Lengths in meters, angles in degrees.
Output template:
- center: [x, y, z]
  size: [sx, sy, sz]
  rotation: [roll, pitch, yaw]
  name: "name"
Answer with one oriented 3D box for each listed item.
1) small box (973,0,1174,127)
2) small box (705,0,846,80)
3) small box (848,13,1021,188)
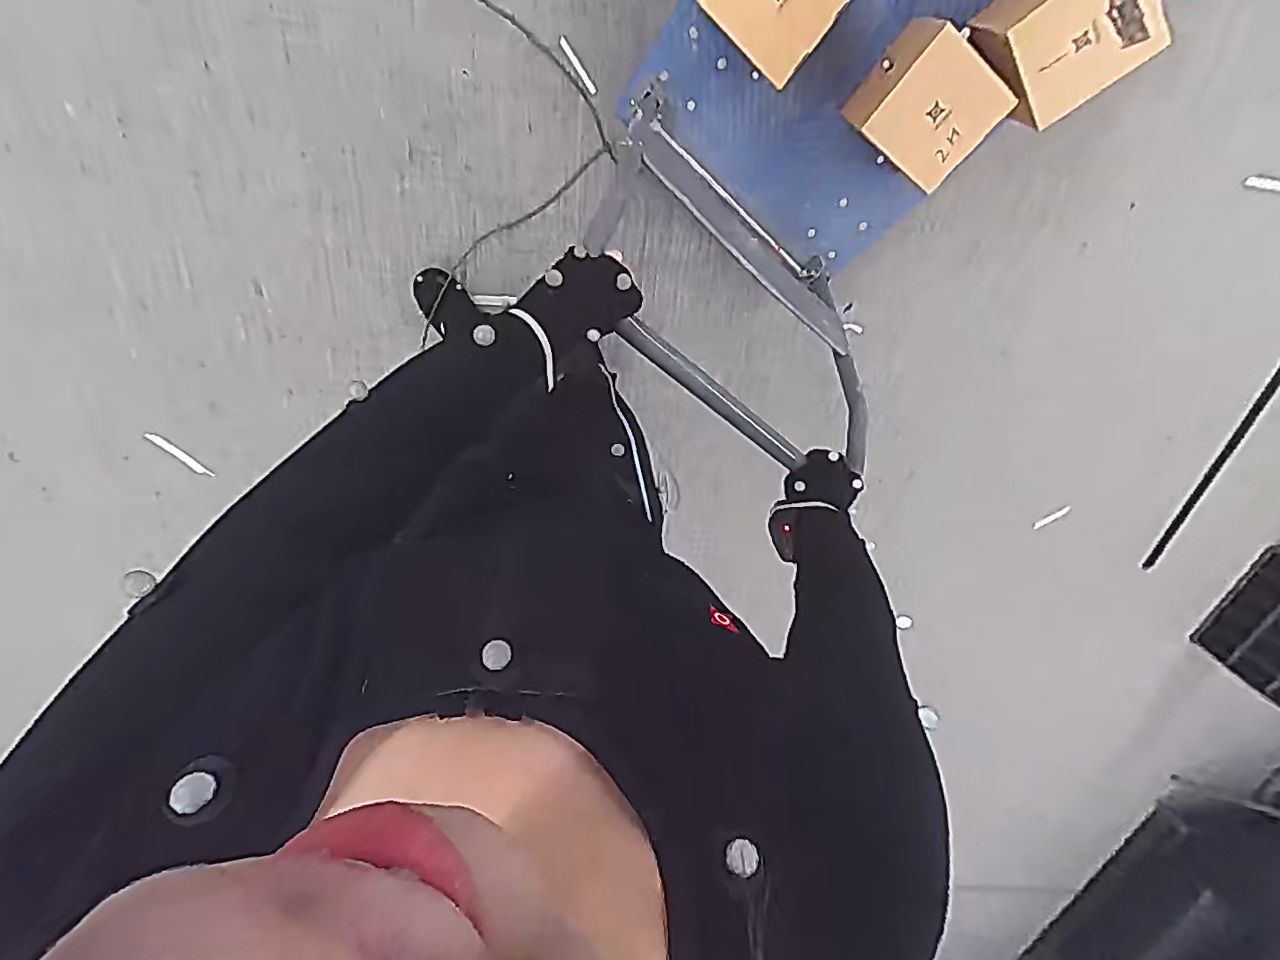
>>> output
- center: [0.658, -0.700, 0.836]
  size: [0.179, 0.176, 0.168]
  rotation: [-29, 124, 30]
  name: "small box"
- center: [0.207, -0.762, 0.825]
  size: [0.179, 0.176, 0.168]
  rotation: [30, 129, -23]
  name: "small box"
- center: [0.480, -0.639, 0.912]
  size: [0.179, 0.176, 0.168]
  rotation: [29, 130, -20]
  name: "small box"
